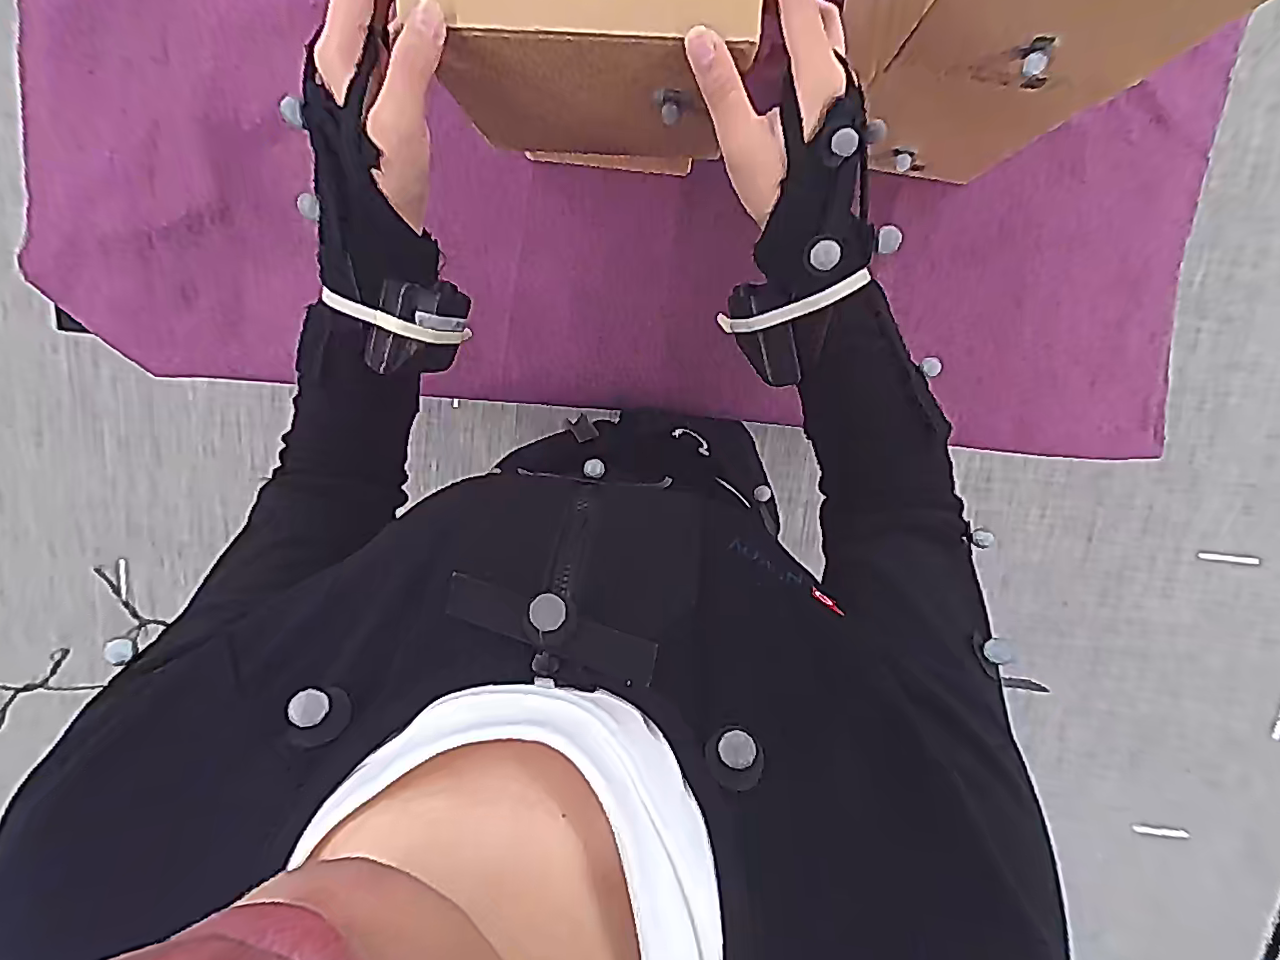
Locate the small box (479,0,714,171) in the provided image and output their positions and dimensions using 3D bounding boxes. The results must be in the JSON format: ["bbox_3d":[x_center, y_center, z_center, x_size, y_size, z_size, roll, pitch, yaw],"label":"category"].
[{"bbox_3d":[-0.027,-0.397,0.478,0.179,0.176,0.168,6,100,-1],"label":"small box"}]

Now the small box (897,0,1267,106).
[{"bbox_3d":[0.276,-0.362,0.310,0.168,0.176,0.179,9,100,0],"label":"small box"}]

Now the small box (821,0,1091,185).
[{"bbox_3d":[0.276,-0.391,0.473,0.168,0.176,0.179,10,100,0],"label":"small box"}]
